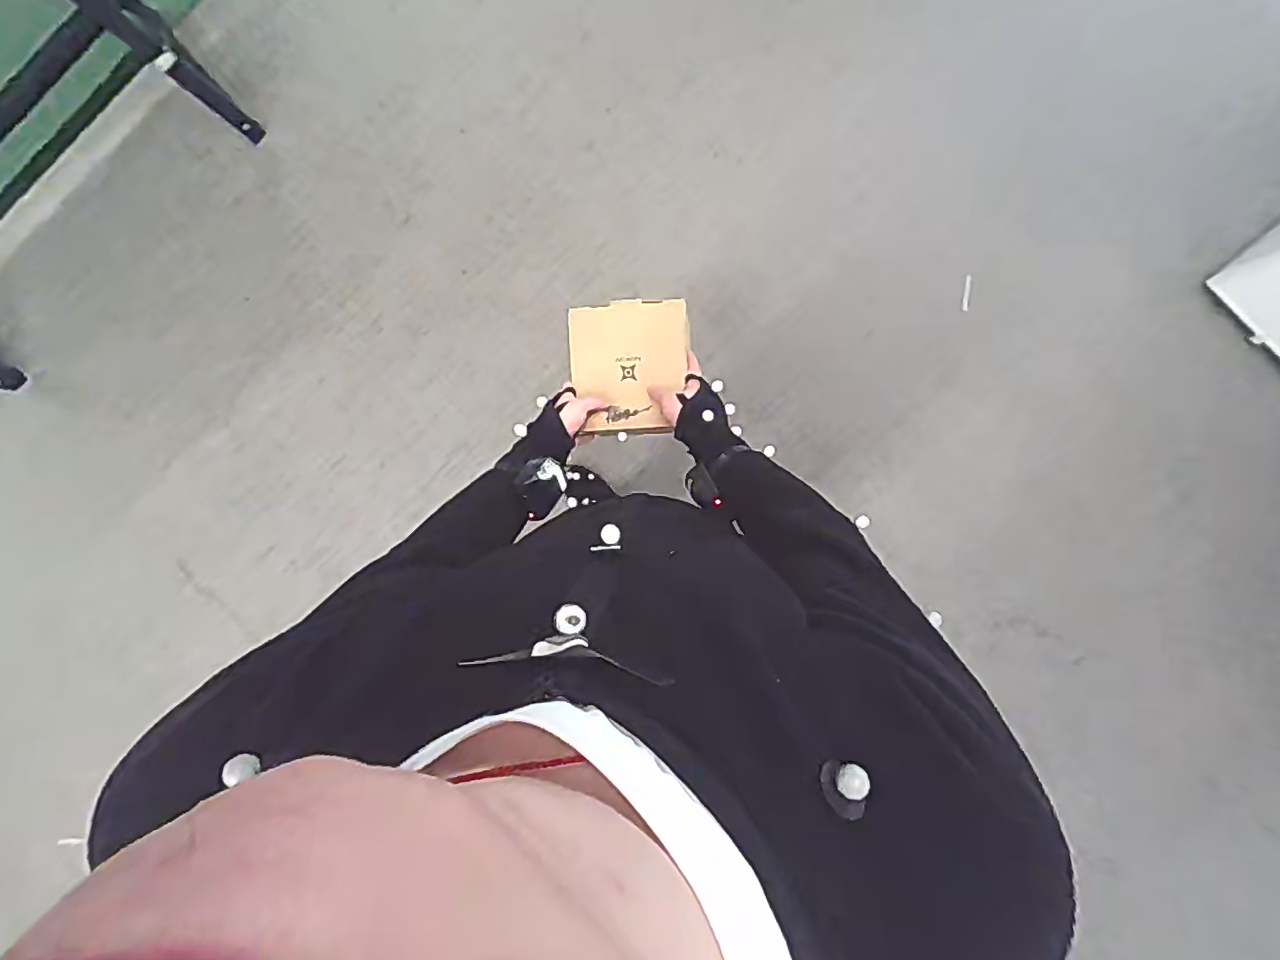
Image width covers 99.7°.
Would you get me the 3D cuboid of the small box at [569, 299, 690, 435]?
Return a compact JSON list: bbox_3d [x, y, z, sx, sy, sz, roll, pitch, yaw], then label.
[{"bbox_3d":[-0.008,-0.163,0.829,0.168,0.176,0.179,-2,93,7],"label":"small box"}]
